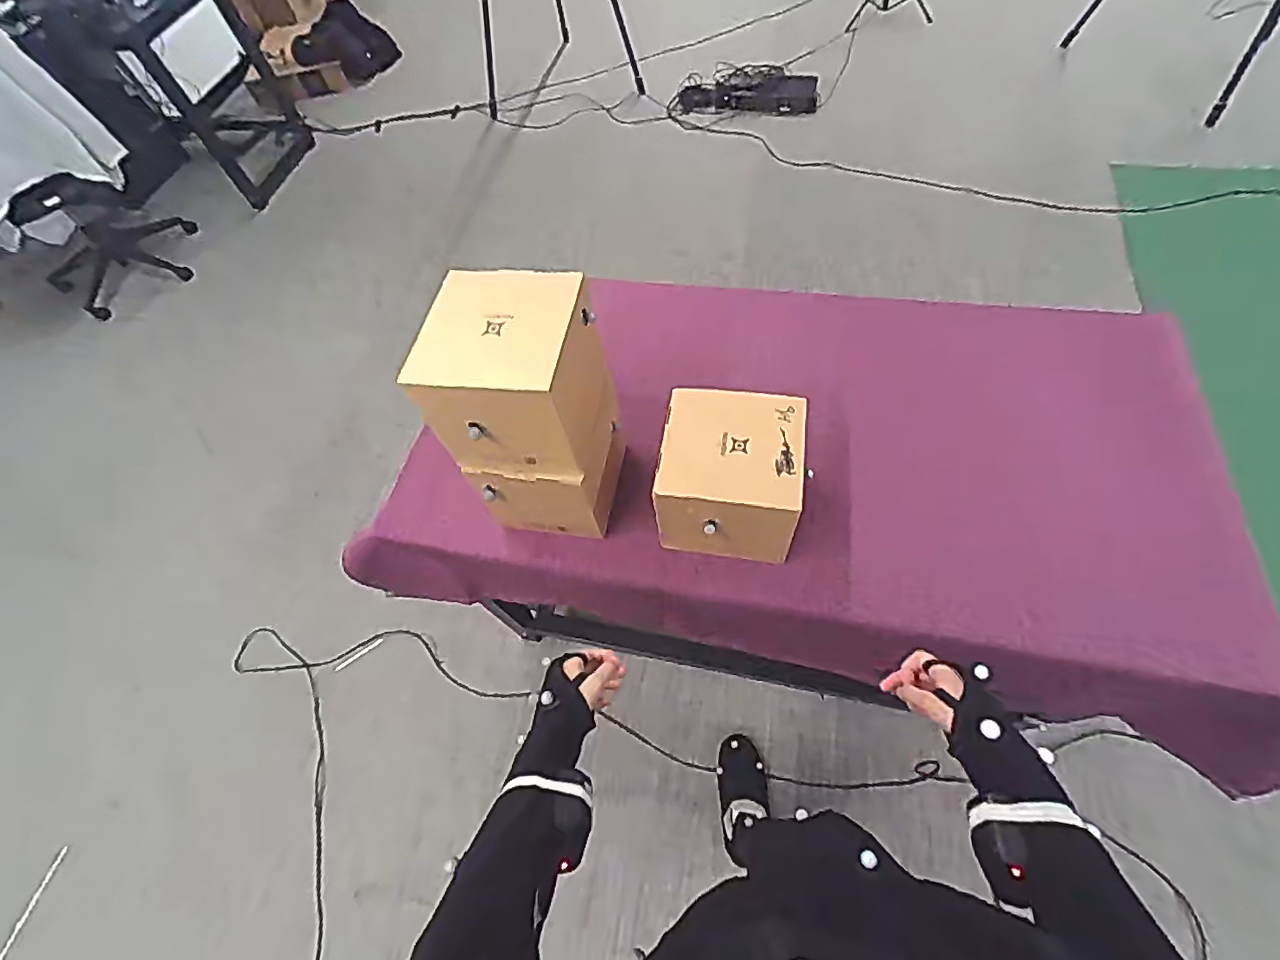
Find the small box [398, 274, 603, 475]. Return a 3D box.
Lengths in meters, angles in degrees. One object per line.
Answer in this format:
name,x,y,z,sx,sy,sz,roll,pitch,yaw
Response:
small box,-0.147,-0.121,0.648,0.168,0.176,0.179,4,59,10

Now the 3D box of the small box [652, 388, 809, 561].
small box,0.123,-0.003,0.730,0.179,0.176,0.168,7,61,12
